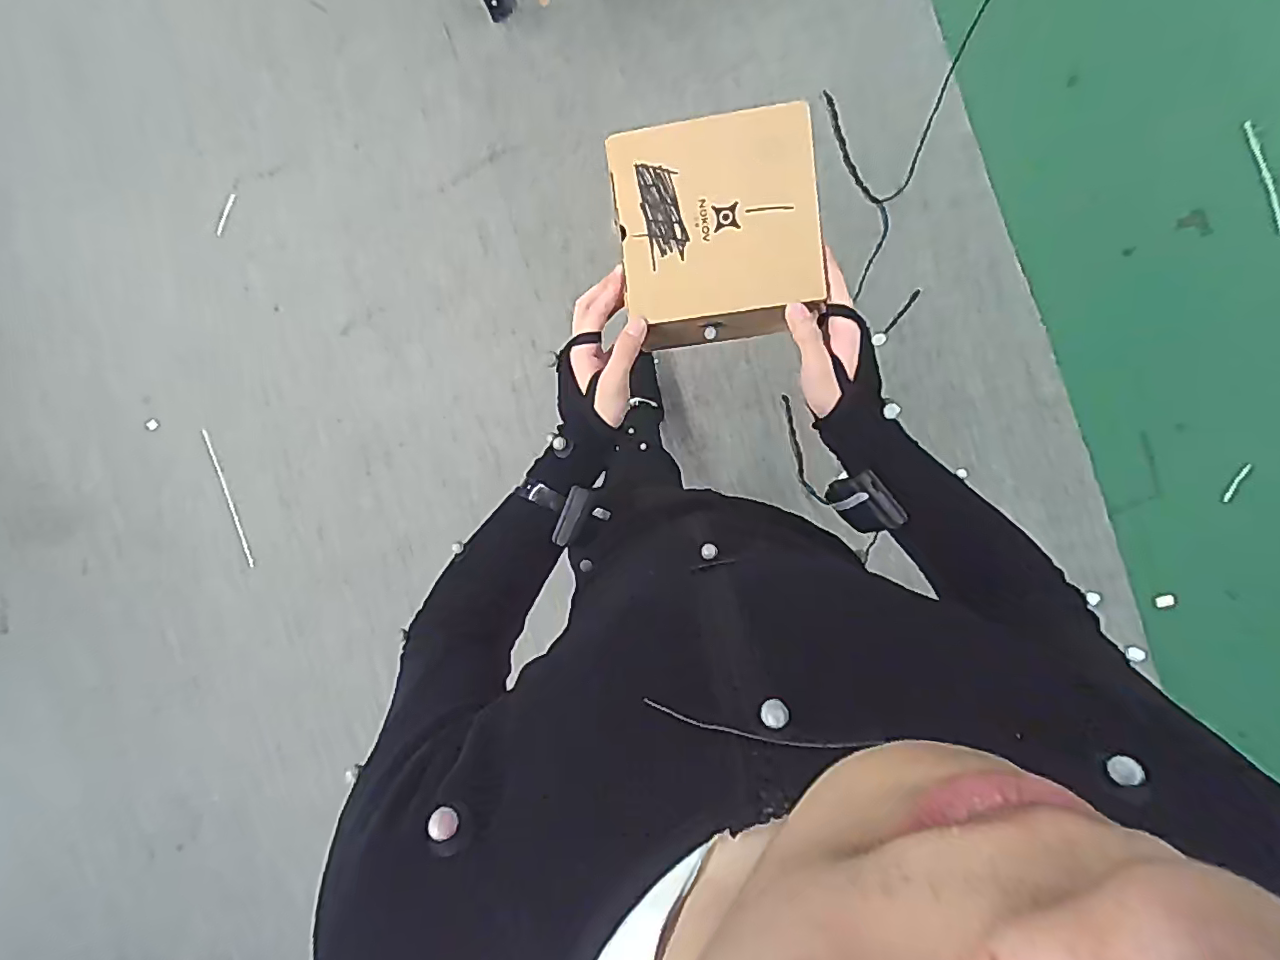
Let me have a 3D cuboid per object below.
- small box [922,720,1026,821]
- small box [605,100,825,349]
[{"bbox_3d":[0.894,0.783,1.472,0.179,0.176,0.168,-16,90,6],"label":"small box"},{"bbox_3d":[0.072,-0.234,0.544,0.179,0.176,0.168,-7,95,6],"label":"small box"}]
